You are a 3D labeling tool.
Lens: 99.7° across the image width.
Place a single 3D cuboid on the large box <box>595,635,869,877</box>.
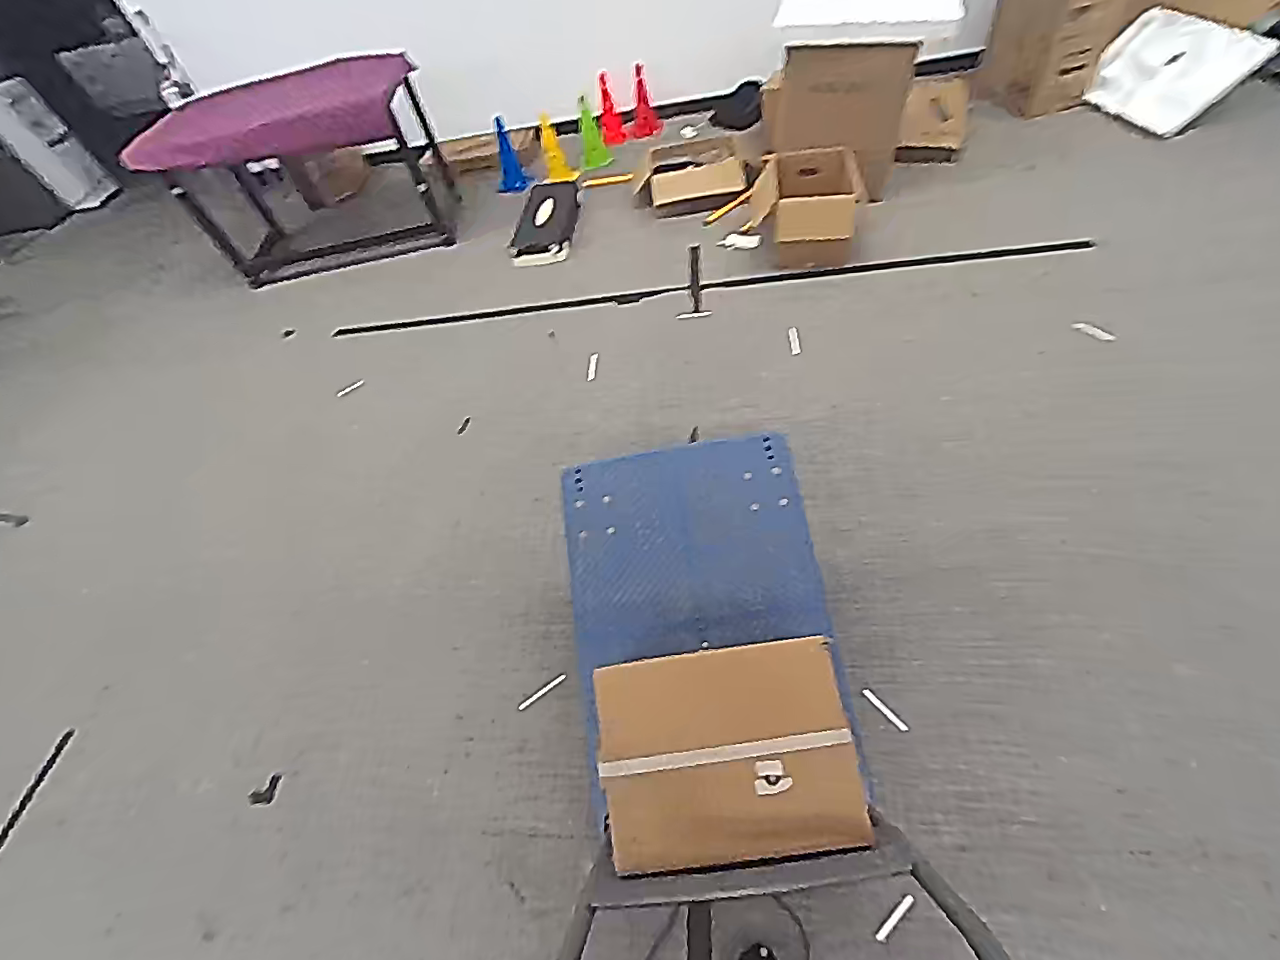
[{"bbox_3d":[0.151,0.495,1.037,0.408,0.320,0.320,-10,72,2],"label":"large box"}]
